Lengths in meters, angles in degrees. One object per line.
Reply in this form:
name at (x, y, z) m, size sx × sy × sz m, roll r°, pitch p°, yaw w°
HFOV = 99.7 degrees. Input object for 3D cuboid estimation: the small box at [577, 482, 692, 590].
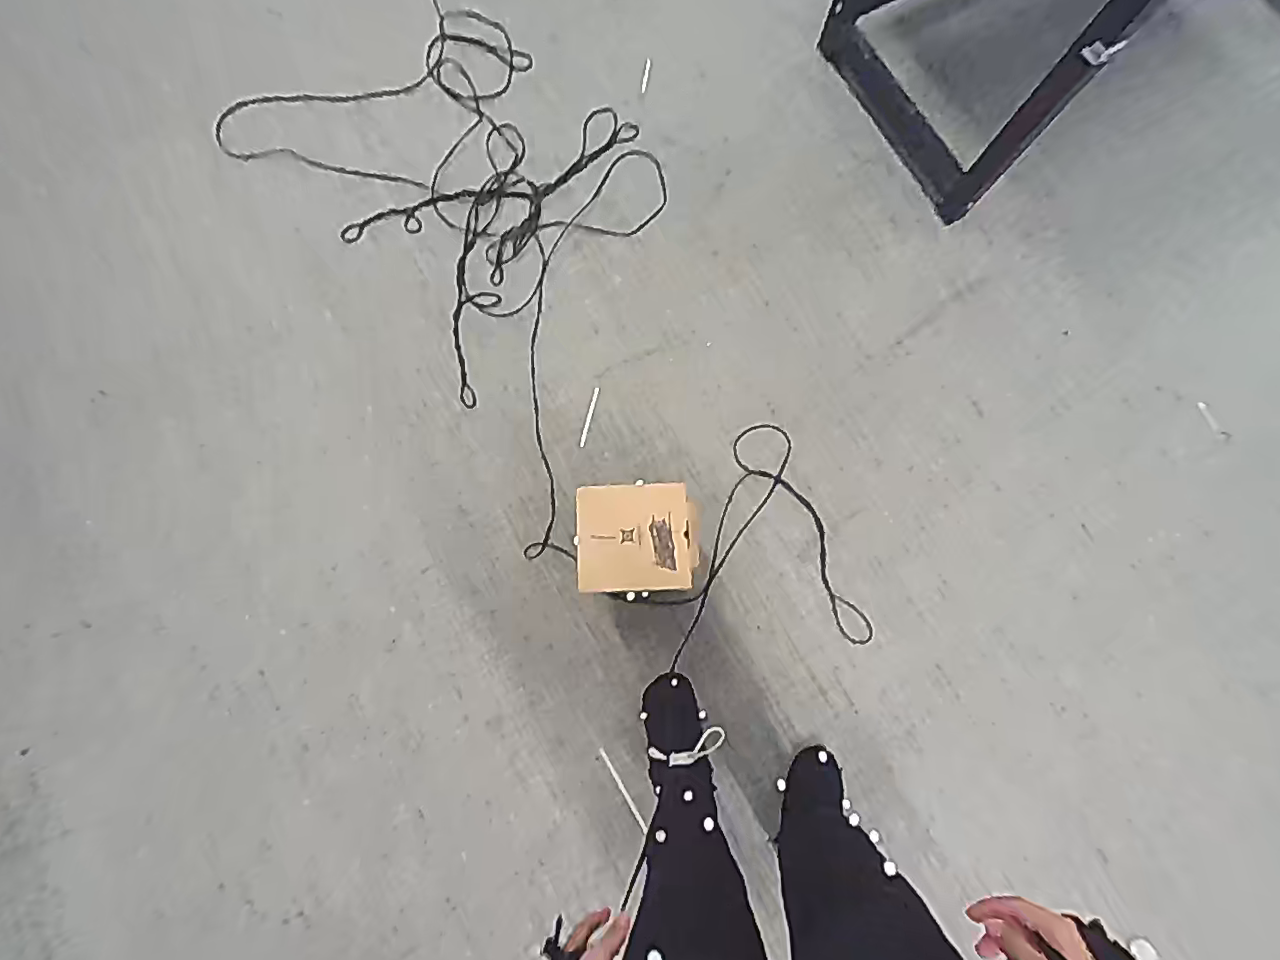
small box at (-0.009, 0.098, 0.911) m, size 0.179 × 0.176 × 0.168 m, roll -2°, pitch 79°, yaw 1°
